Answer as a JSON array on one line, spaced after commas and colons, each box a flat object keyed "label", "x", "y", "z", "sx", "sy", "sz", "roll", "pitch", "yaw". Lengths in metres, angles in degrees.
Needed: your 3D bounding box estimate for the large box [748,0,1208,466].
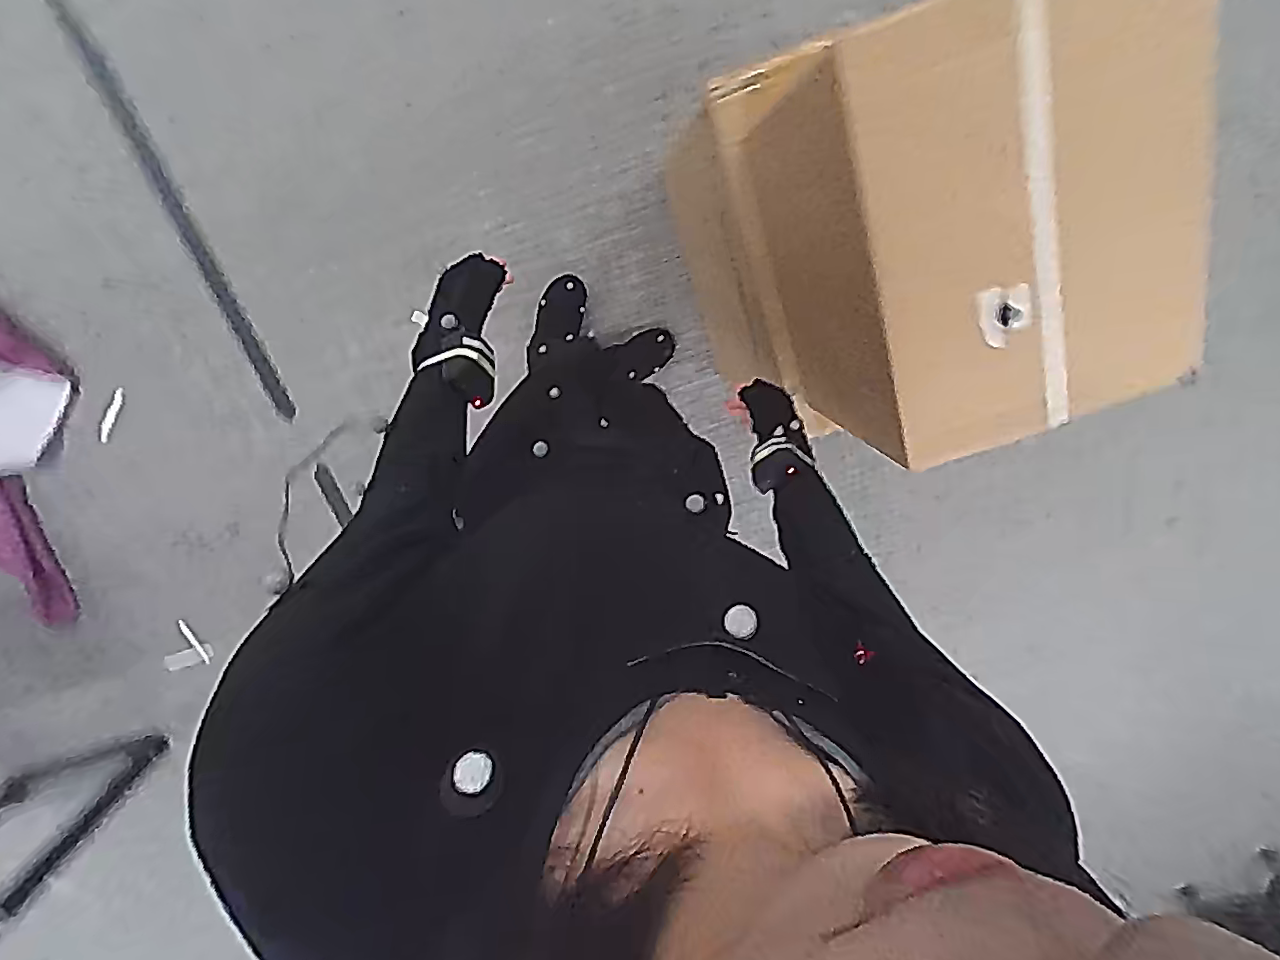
[{"label": "large box", "x": 0.360, "y": -0.289, "z": 0.640, "sx": 0.320, "sy": 0.320, "sz": 0.408, "roll": -19, "pitch": 111, "yaw": 4}]
